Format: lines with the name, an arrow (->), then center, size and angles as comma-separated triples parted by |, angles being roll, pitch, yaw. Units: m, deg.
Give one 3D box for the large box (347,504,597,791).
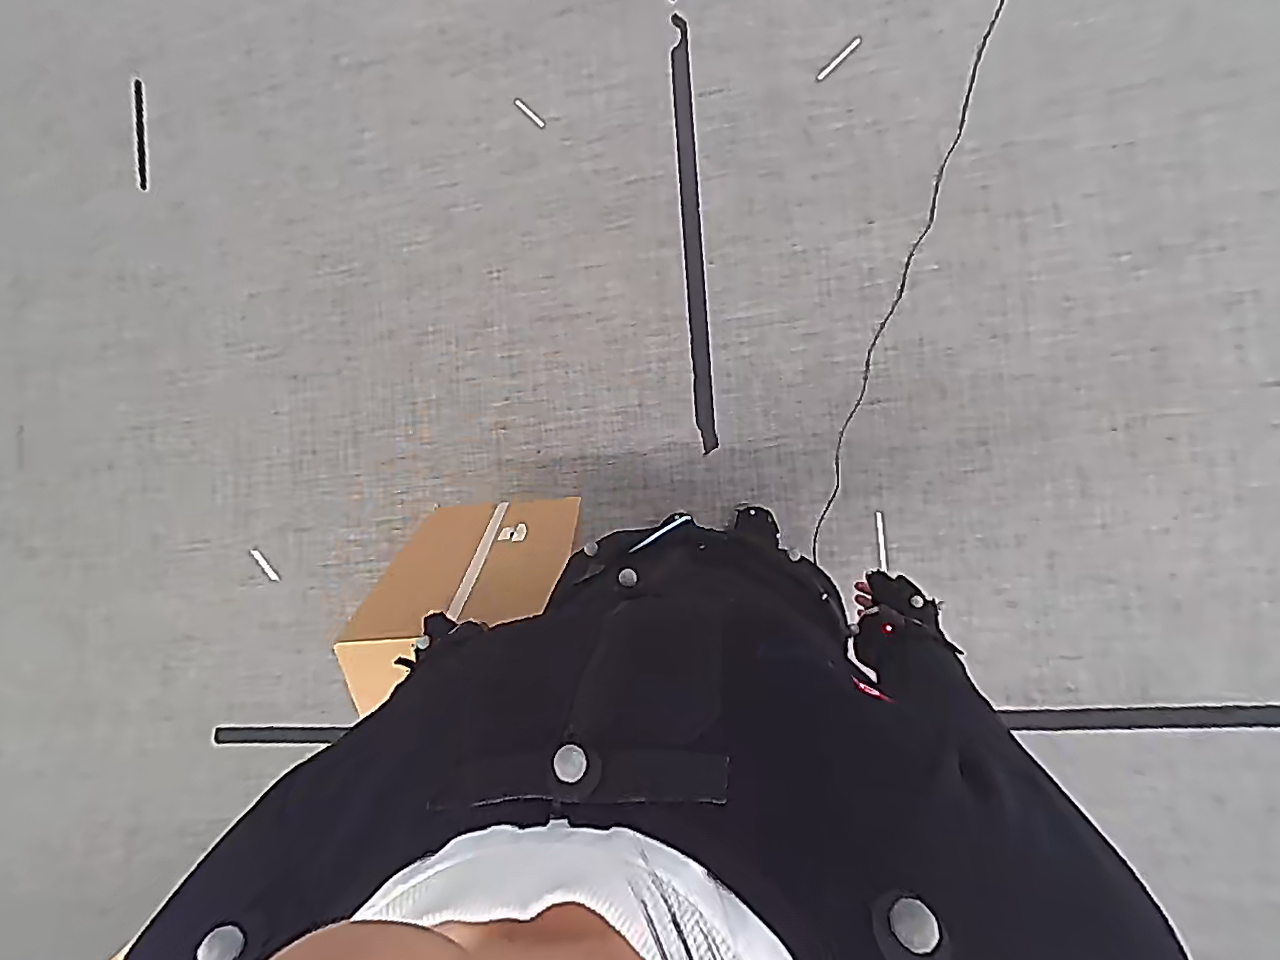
large box -> -0.254, 0.277, 0.990 | 0.320, 0.408, 0.320 | -4, 113, 1
